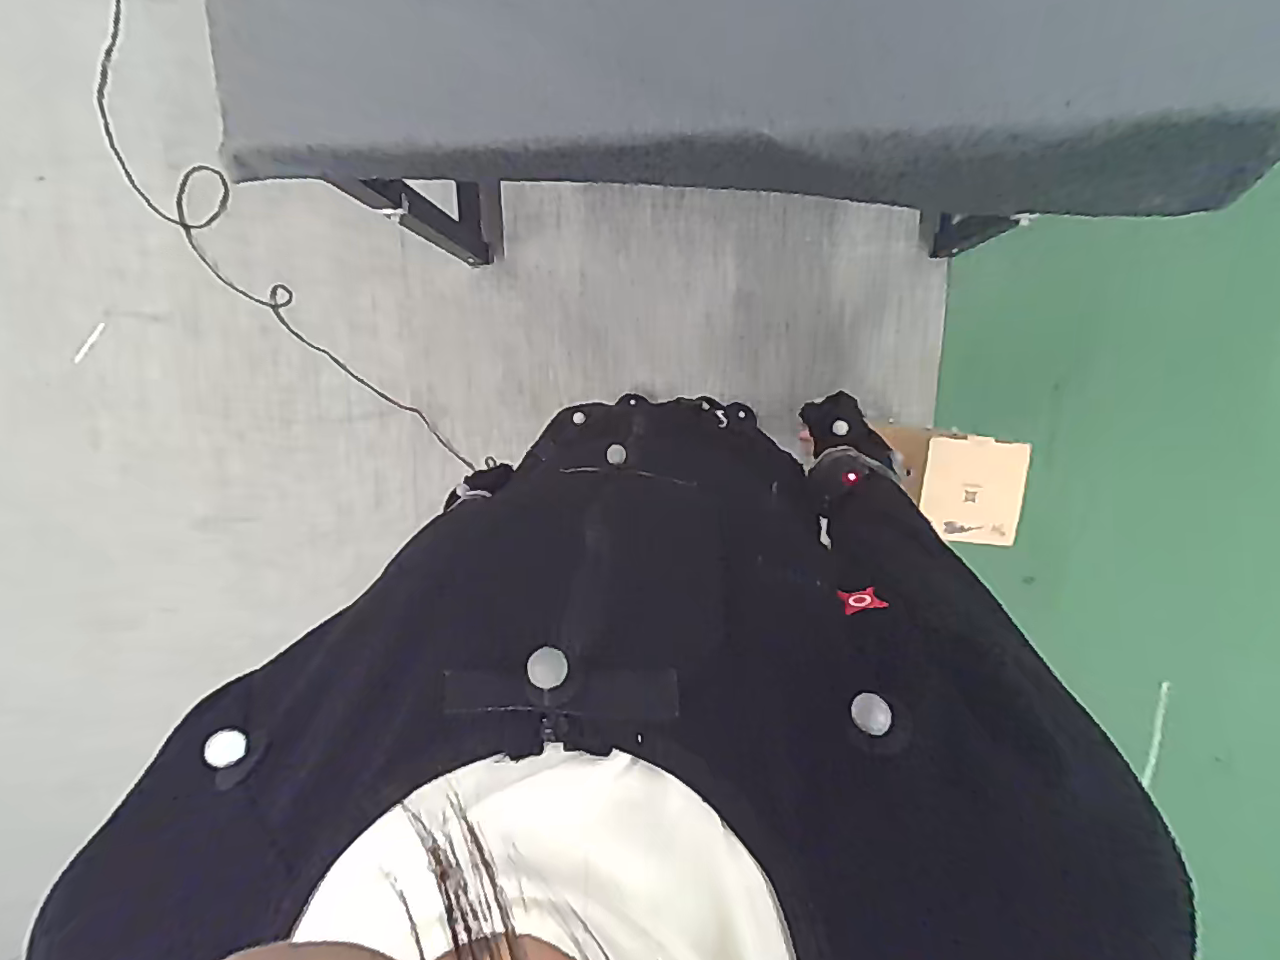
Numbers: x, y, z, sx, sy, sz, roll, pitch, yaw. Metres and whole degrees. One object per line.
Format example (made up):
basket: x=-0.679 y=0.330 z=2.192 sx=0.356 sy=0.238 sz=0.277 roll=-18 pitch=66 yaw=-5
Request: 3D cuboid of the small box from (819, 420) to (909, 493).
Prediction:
small box: x=0.551 y=-0.056 z=1.309 sx=0.179 sy=0.176 sz=0.168 roll=5 pitch=99 yaw=4

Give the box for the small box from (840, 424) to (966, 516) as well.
small box: x=0.547 y=-0.027 z=1.146 sx=0.179 sy=0.176 sz=0.168 roll=5 pitch=99 yaw=3
